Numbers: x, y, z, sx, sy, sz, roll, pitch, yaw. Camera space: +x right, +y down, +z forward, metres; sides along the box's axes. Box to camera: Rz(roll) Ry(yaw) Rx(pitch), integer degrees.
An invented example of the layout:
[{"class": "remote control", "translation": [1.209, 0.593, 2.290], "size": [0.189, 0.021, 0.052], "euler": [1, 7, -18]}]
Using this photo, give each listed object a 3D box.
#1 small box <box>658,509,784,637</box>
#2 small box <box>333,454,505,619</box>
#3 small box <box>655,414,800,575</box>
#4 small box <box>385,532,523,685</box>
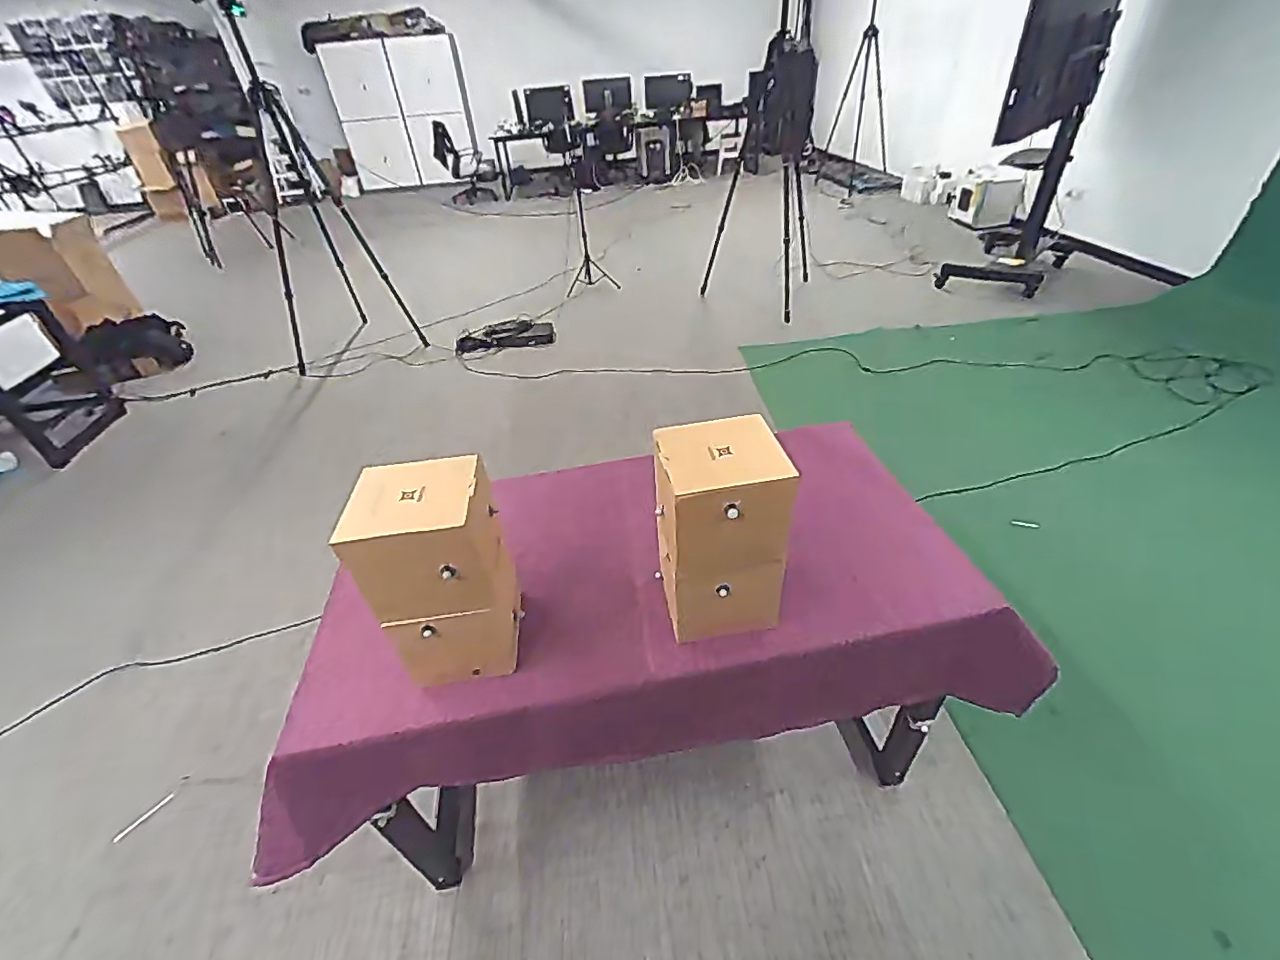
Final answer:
[{"class": "small box", "translation": [0.134, 0.149, 0.932], "size": [0.179, 0.176, 0.168], "euler": [-9, 39, -4]}, {"class": "small box", "translation": [-0.309, 0.084, 0.805], "size": [0.179, 0.176, 0.168], "euler": [-8, 38, -2]}, {"class": "small box", "translation": [0.125, 0.023, 0.831], "size": [0.179, 0.176, 0.168], "euler": [-10, 39, -4]}, {"class": "small box", "translation": [-0.297, 0.212, 0.907], "size": [0.168, 0.176, 0.179], "euler": [-8, 38, -2]}]
